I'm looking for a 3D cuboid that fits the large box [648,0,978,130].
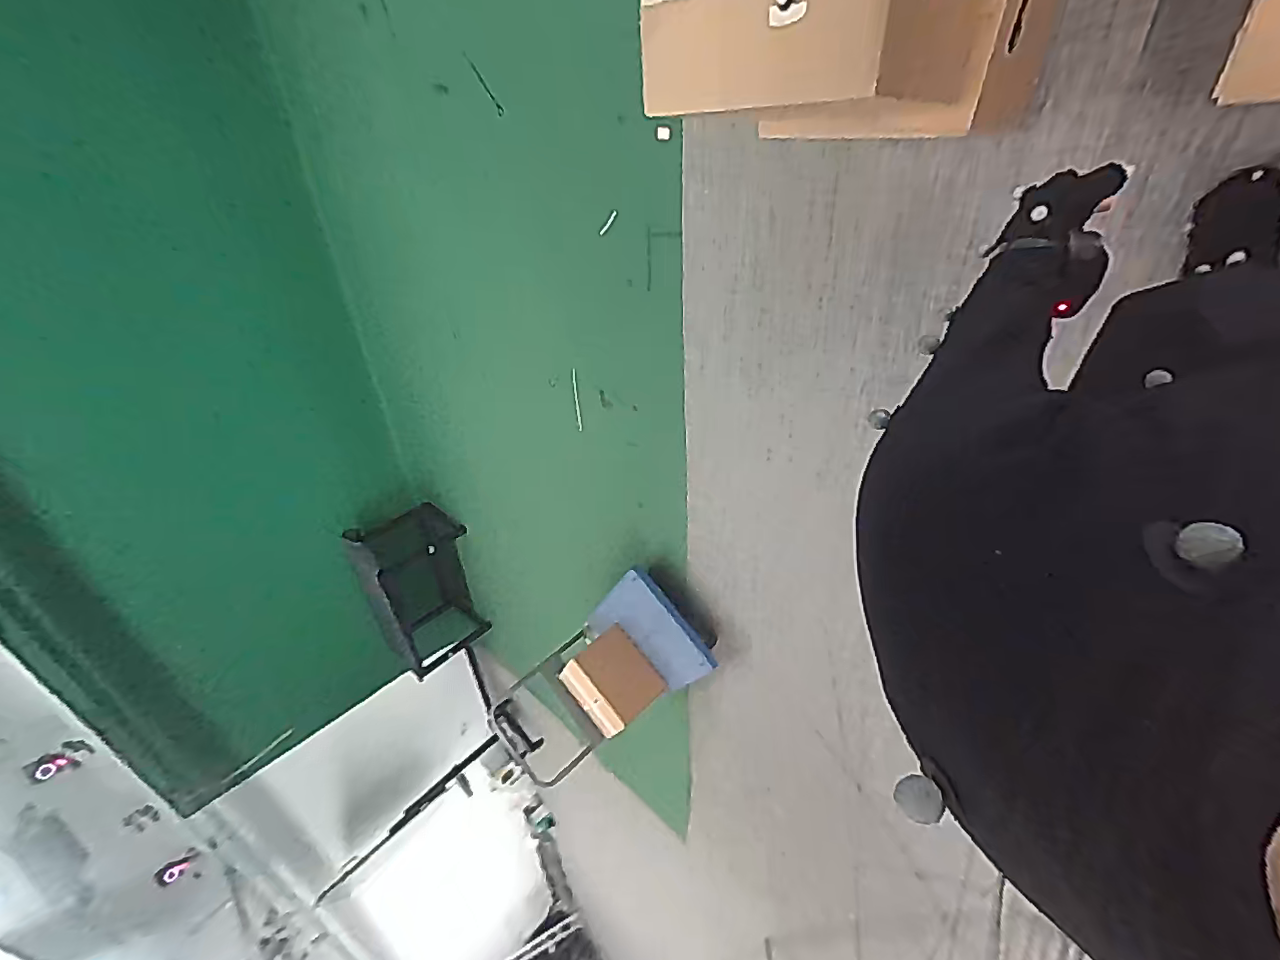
[{"bbox_3d":[0.261,-0.740,0.826,0.408,0.320,0.320,24,128,36],"label":"large box"}]
